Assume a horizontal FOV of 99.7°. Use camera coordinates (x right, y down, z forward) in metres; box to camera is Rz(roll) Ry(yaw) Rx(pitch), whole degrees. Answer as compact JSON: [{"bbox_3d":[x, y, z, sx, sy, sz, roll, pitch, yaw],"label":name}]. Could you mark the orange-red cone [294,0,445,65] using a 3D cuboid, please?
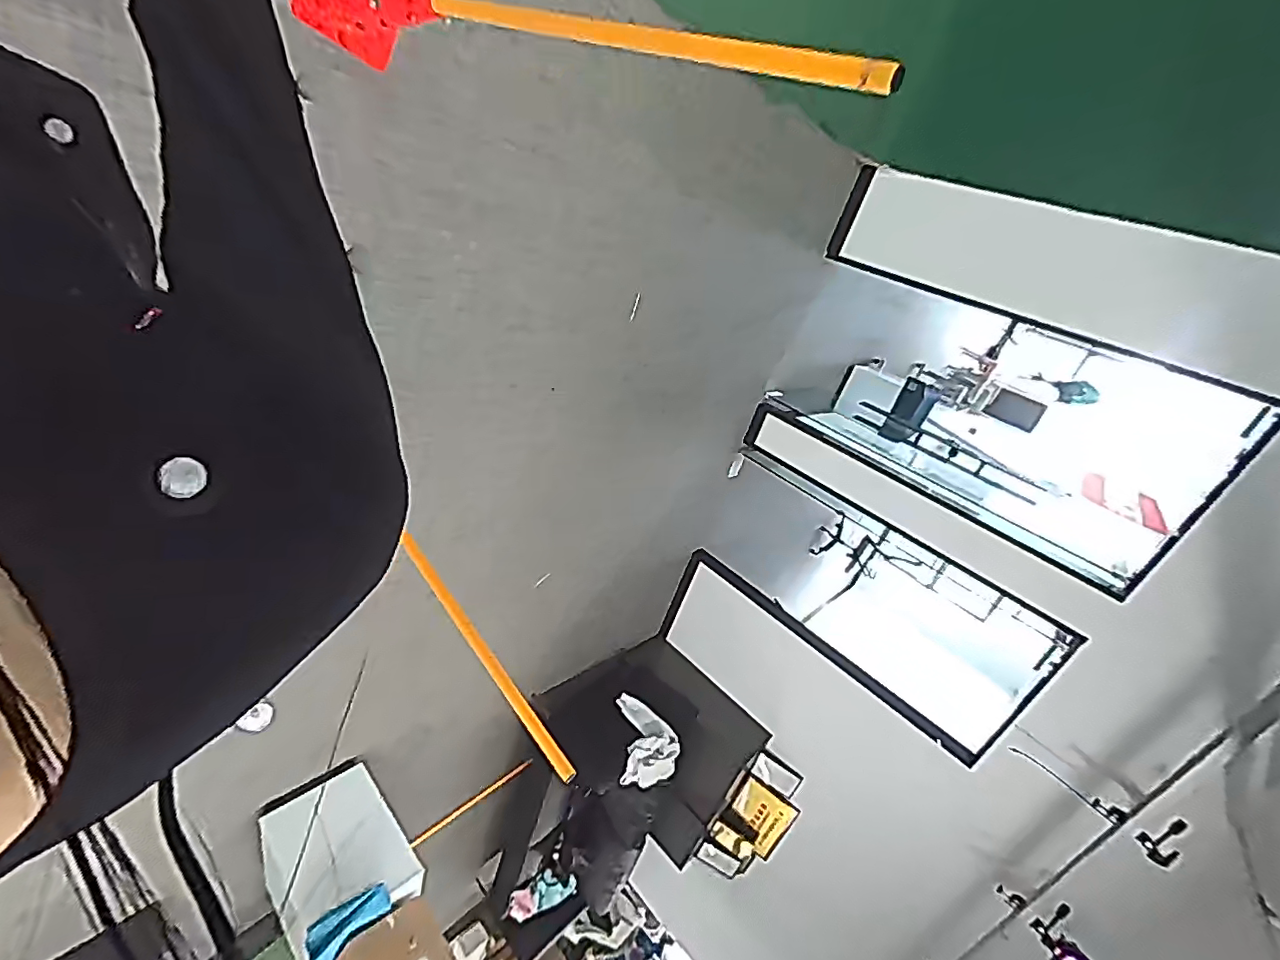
[{"bbox_3d":[-0.471,-0.918,1.021,0.198,0.360,0.199,5,118,-54],"label":"orange-red cone"}]
